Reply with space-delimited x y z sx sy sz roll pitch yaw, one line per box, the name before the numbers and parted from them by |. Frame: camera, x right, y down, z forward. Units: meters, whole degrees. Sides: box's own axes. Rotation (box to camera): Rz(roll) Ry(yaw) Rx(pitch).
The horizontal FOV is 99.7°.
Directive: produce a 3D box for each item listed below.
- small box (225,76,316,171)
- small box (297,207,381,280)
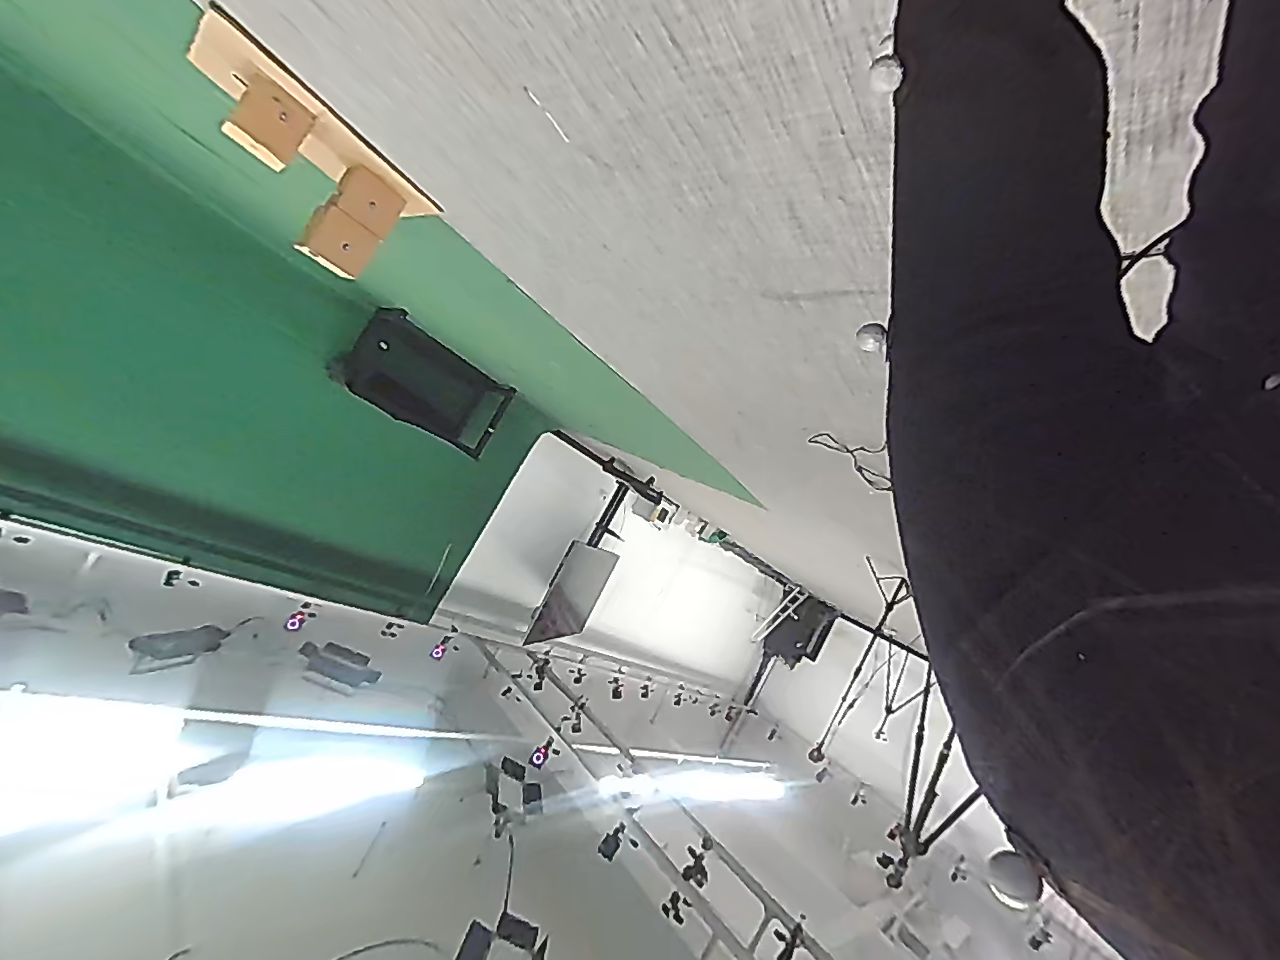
small box | -1.139 -1.095 1.670 0.179 0.176 0.168 23 172 45
small box | -1.046 -0.828 1.883 0.168 0.176 0.179 25 175 40
